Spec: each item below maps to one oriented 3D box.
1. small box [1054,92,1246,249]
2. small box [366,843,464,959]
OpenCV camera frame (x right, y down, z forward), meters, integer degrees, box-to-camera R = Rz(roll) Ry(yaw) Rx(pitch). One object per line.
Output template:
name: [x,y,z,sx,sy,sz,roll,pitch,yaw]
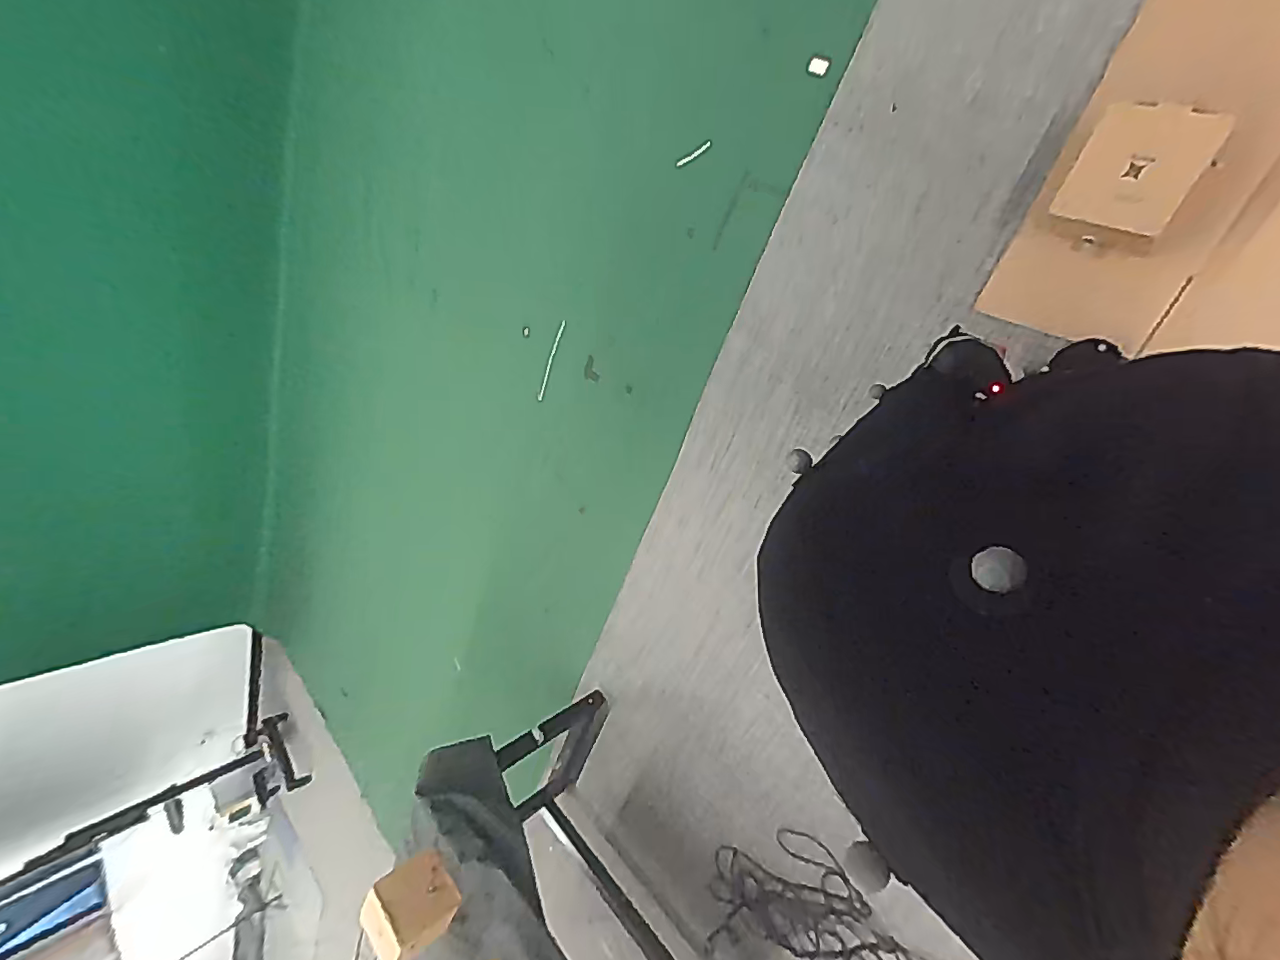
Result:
small box: [0.842,-0.515,0.915,0.168,0.176,0.179,35,118,31]
small box: [-0.582,1.105,1.407,0.168,0.176,0.179,41,120,27]
